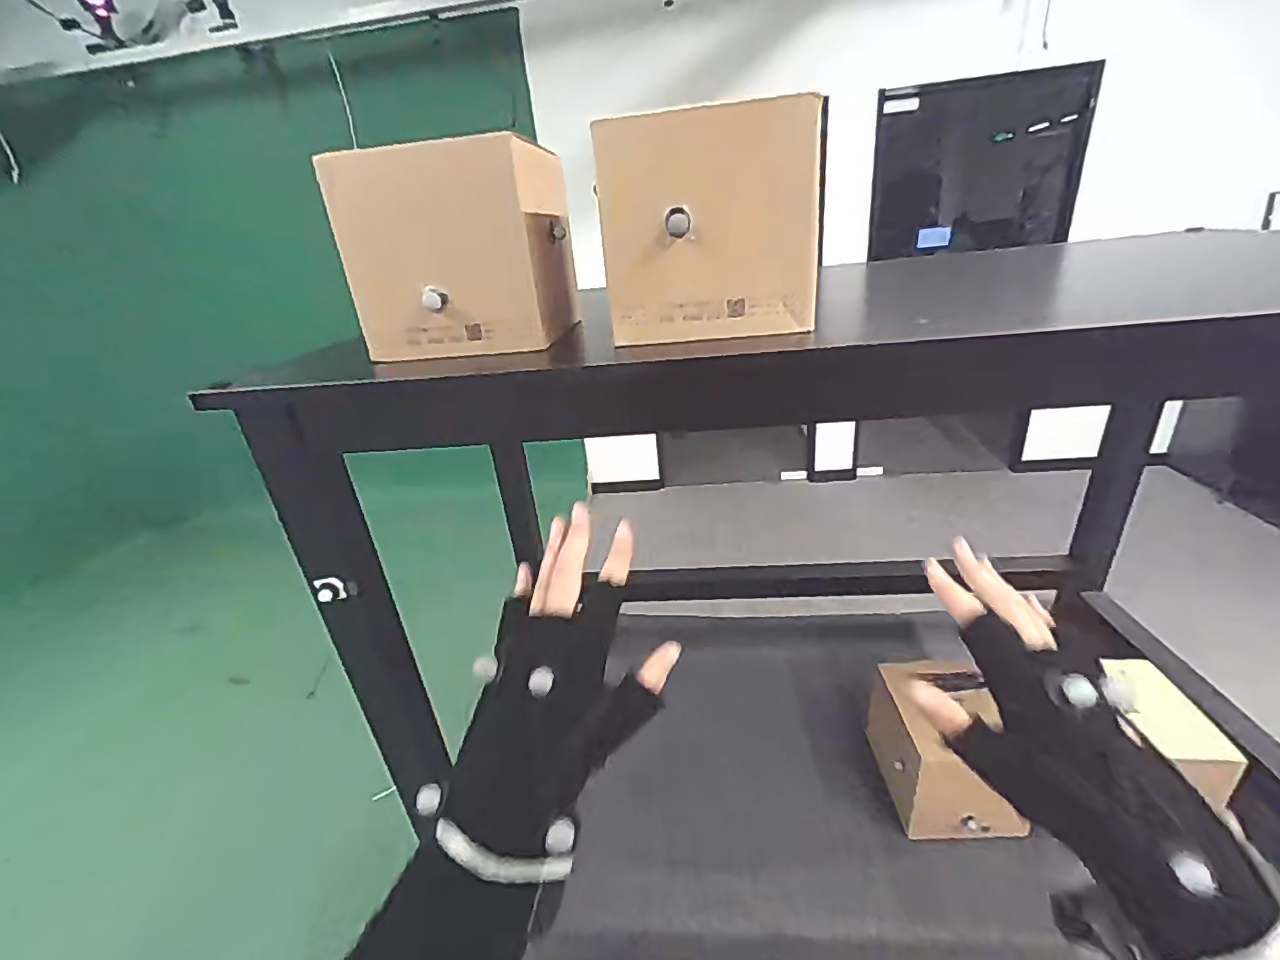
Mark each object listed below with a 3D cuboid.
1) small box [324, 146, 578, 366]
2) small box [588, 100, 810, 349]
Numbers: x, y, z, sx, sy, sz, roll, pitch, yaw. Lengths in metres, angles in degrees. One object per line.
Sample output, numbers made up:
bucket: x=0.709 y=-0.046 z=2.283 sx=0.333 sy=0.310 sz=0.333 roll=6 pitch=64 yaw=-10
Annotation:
small box: x=-0.163 y=-0.215 z=0.535 sx=0.168 sy=0.176 sz=0.179 roll=-3 pitch=25 yaw=8
small box: x=0.059 y=-0.218 z=0.495 sx=0.168 sy=0.176 sz=0.179 roll=-3 pitch=24 yaw=8
